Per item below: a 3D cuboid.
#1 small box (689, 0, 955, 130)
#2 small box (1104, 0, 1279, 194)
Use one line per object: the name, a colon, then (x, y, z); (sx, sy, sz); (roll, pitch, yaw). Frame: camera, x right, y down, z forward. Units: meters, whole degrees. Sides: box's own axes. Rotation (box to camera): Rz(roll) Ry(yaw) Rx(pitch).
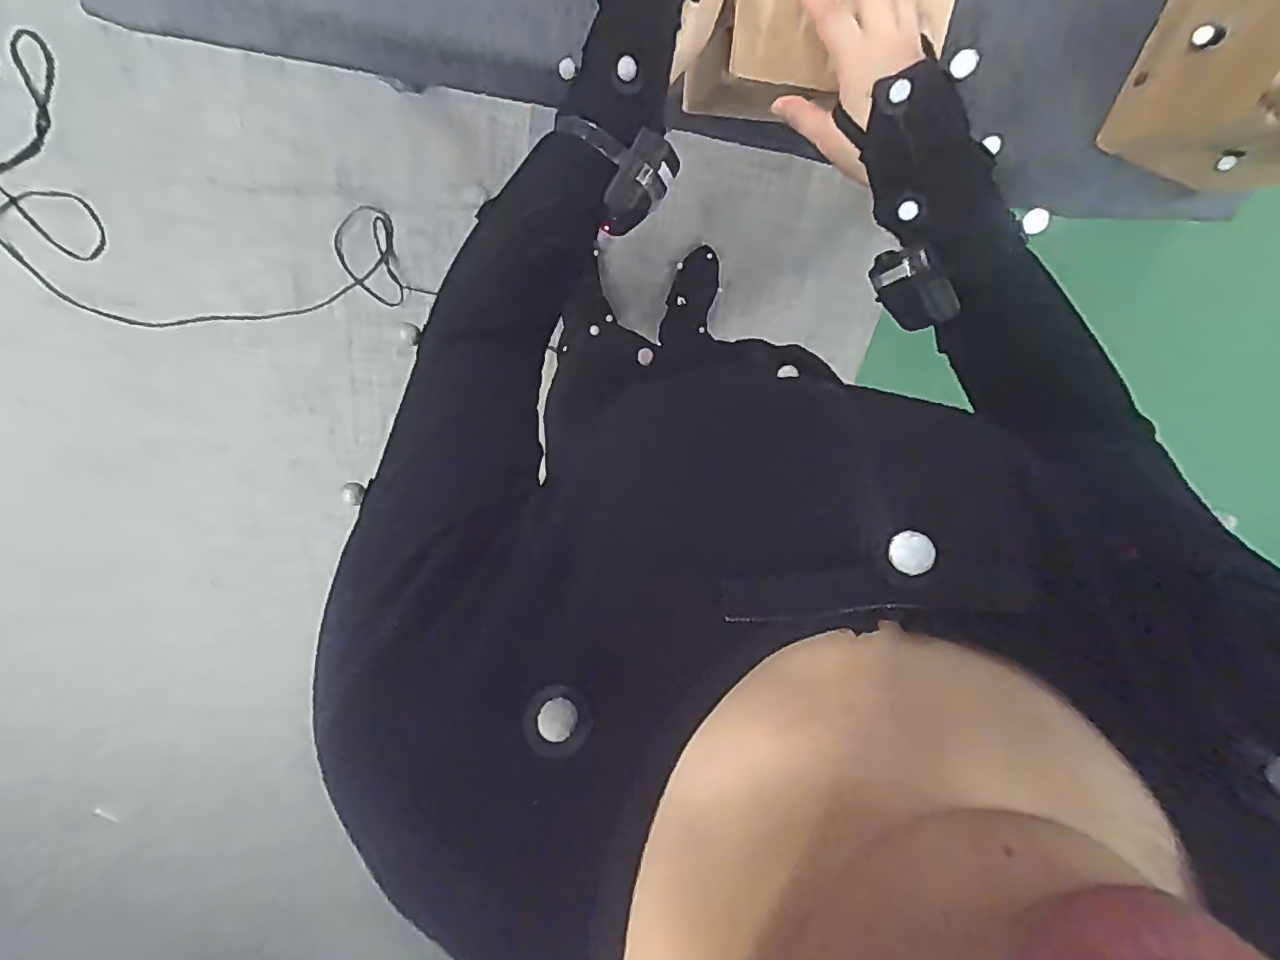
small box: (0.145, -0.410, 0.462); (0.179, 0.176, 0.168); (1, 118, -8)
small box: (0.627, -0.393, 0.528); (0.179, 0.176, 0.168); (12, 113, -12)
